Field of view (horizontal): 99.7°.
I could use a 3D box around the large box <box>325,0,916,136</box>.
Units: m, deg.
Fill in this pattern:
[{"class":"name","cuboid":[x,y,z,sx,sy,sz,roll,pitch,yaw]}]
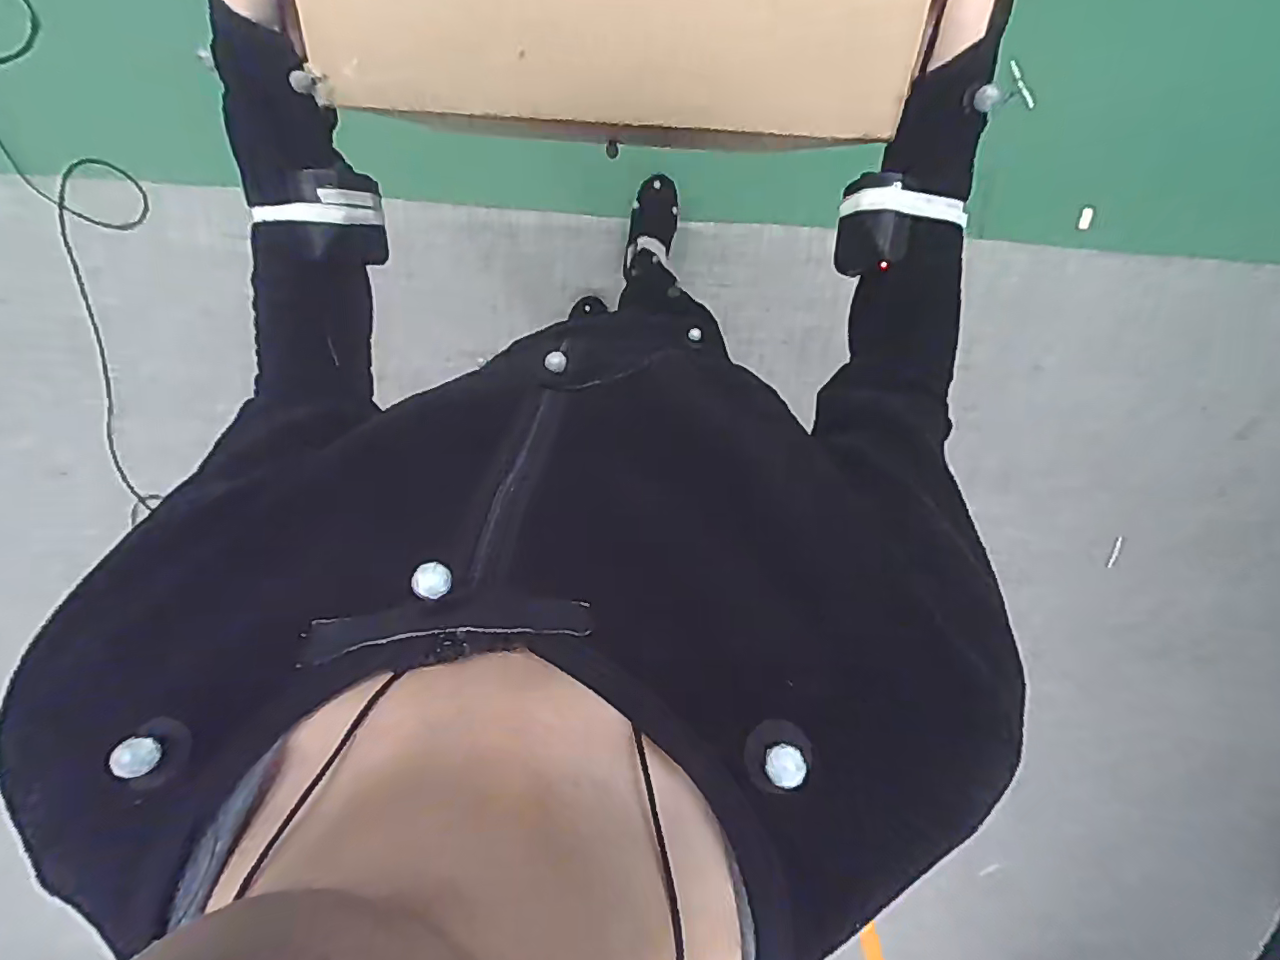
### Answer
[{"class":"large box","cuboid":[-0.013,-0.473,0.444,0.408,0.320,0.320,0,119,-5]}]
